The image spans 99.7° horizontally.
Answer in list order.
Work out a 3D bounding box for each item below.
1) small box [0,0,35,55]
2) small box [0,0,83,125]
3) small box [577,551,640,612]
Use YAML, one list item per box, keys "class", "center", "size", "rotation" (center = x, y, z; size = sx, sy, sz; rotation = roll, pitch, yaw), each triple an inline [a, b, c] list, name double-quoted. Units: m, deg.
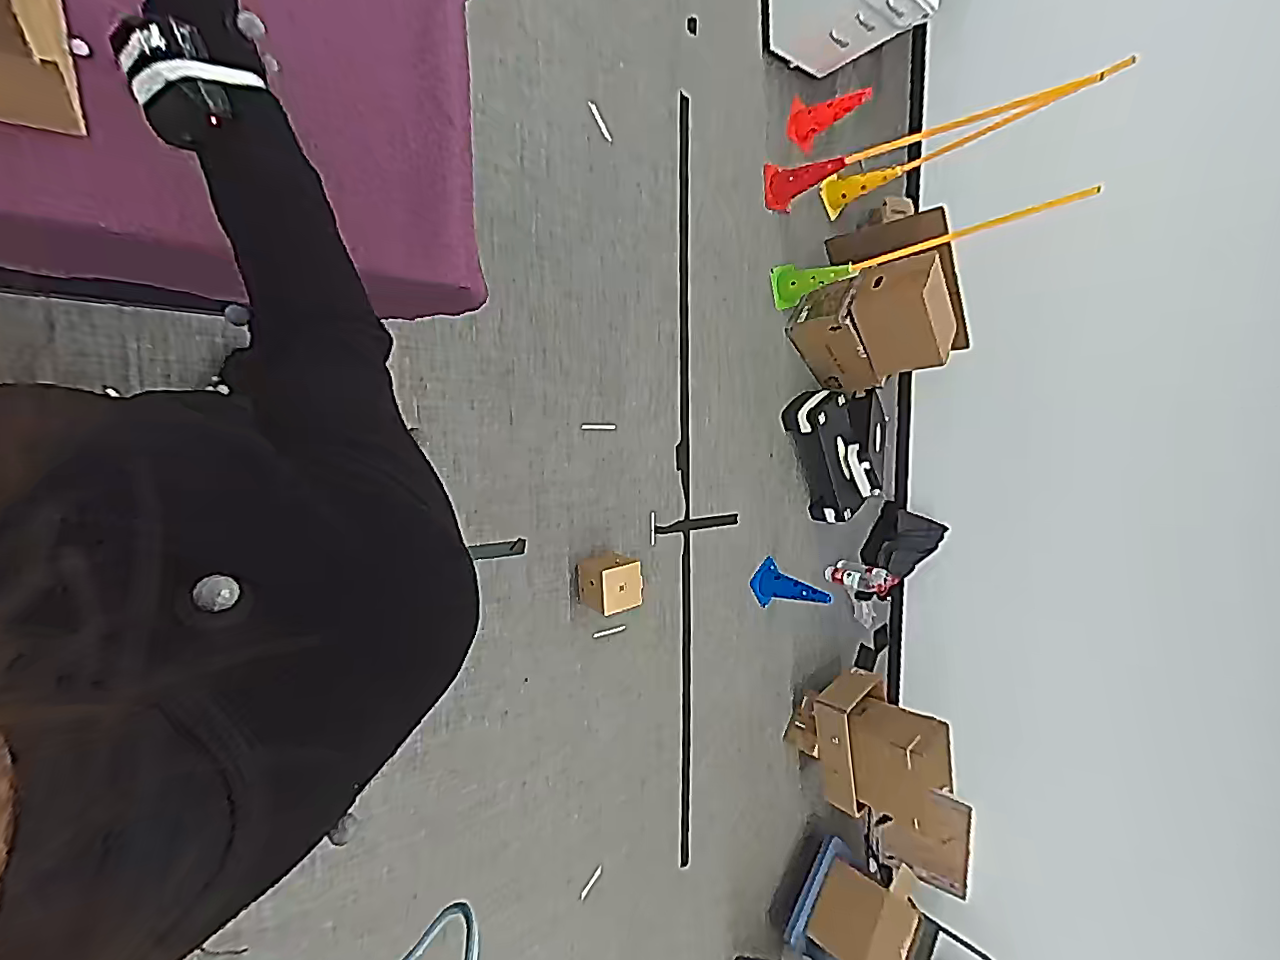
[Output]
- class: "small box"
  center: [-0.563, -0.462, 0.377]
  size: [0.168, 0.176, 0.179]
  rotation: [-2, 95, -39]
- class: "small box"
  center: [-0.668, -0.469, 0.504]
  size: [0.179, 0.176, 0.168]
  rotation: [-10, 101, -39]
- class: "small box"
  center: [-0.120, 0.368, 1.993]
  size: [0.179, 0.176, 0.168]
  rotation: [-9, 100, -39]
